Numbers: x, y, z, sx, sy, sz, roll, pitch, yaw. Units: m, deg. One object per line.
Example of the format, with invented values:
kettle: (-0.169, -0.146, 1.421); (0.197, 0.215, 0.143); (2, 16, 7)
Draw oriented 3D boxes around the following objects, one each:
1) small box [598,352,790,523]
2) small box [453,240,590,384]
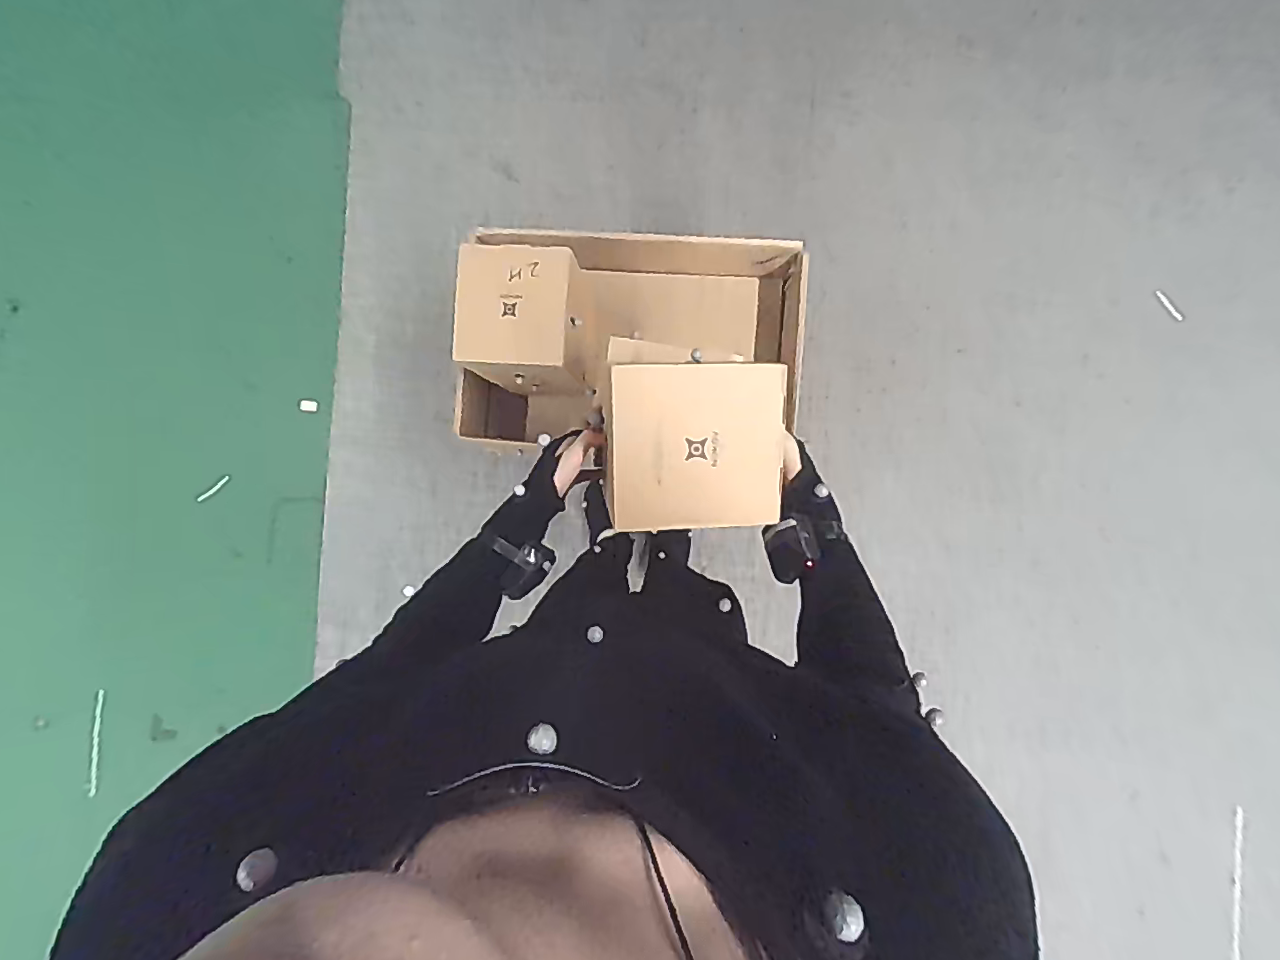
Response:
small box: (0.046, -0.056, 0.599); (0.179, 0.176, 0.168); (-1, 101, -7)
small box: (-0.177, -0.254, 0.853); (0.168, 0.176, 0.179); (4, 90, 4)
